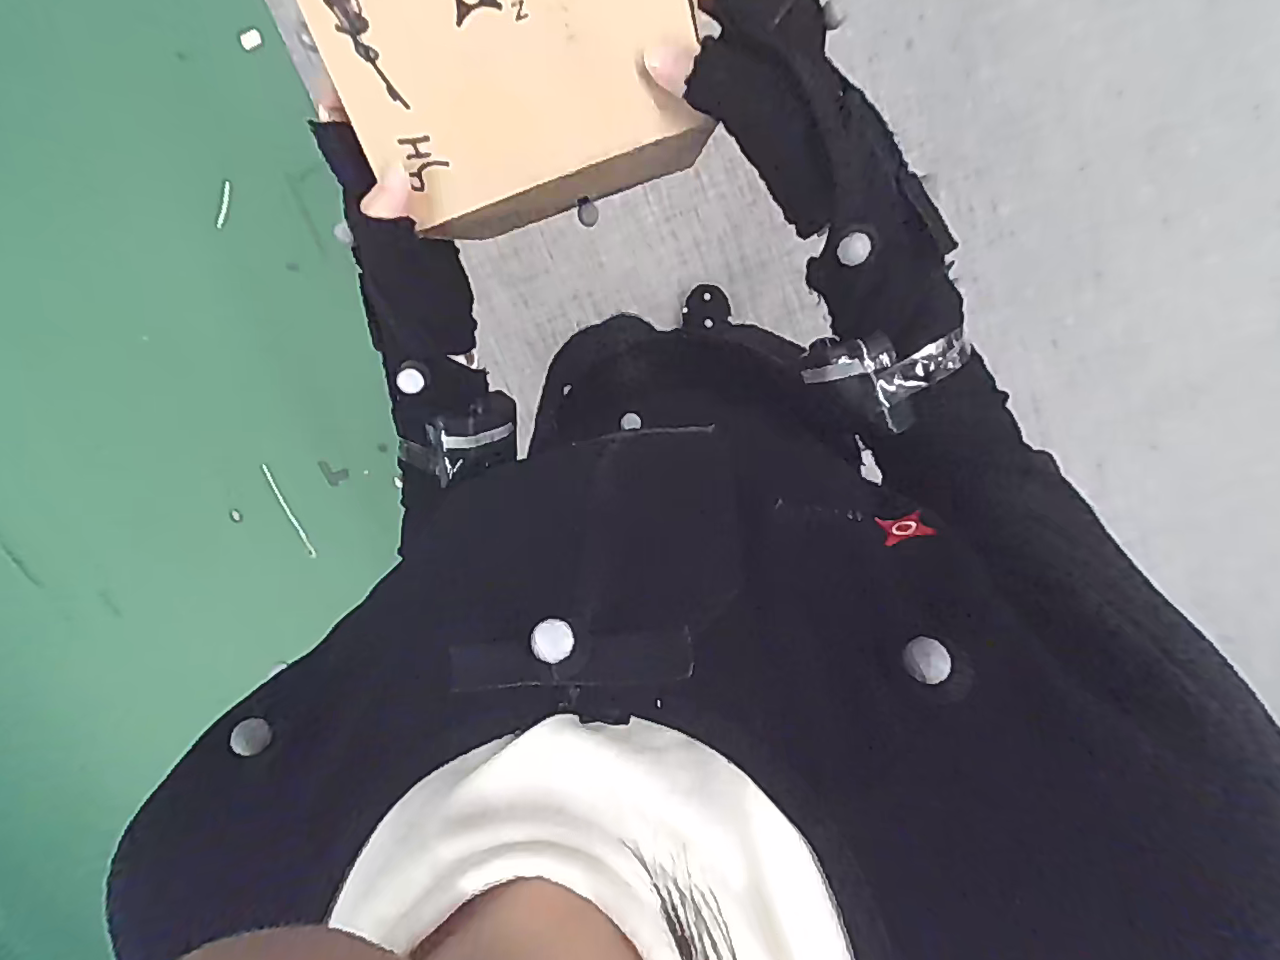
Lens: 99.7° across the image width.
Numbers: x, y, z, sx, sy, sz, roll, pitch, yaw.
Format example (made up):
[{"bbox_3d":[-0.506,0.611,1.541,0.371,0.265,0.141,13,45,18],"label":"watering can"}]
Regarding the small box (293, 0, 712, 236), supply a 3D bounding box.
[{"bbox_3d":[-0.071,-0.261,0.321,0.179,0.176,0.168,-18,112,9],"label":"small box"}]
